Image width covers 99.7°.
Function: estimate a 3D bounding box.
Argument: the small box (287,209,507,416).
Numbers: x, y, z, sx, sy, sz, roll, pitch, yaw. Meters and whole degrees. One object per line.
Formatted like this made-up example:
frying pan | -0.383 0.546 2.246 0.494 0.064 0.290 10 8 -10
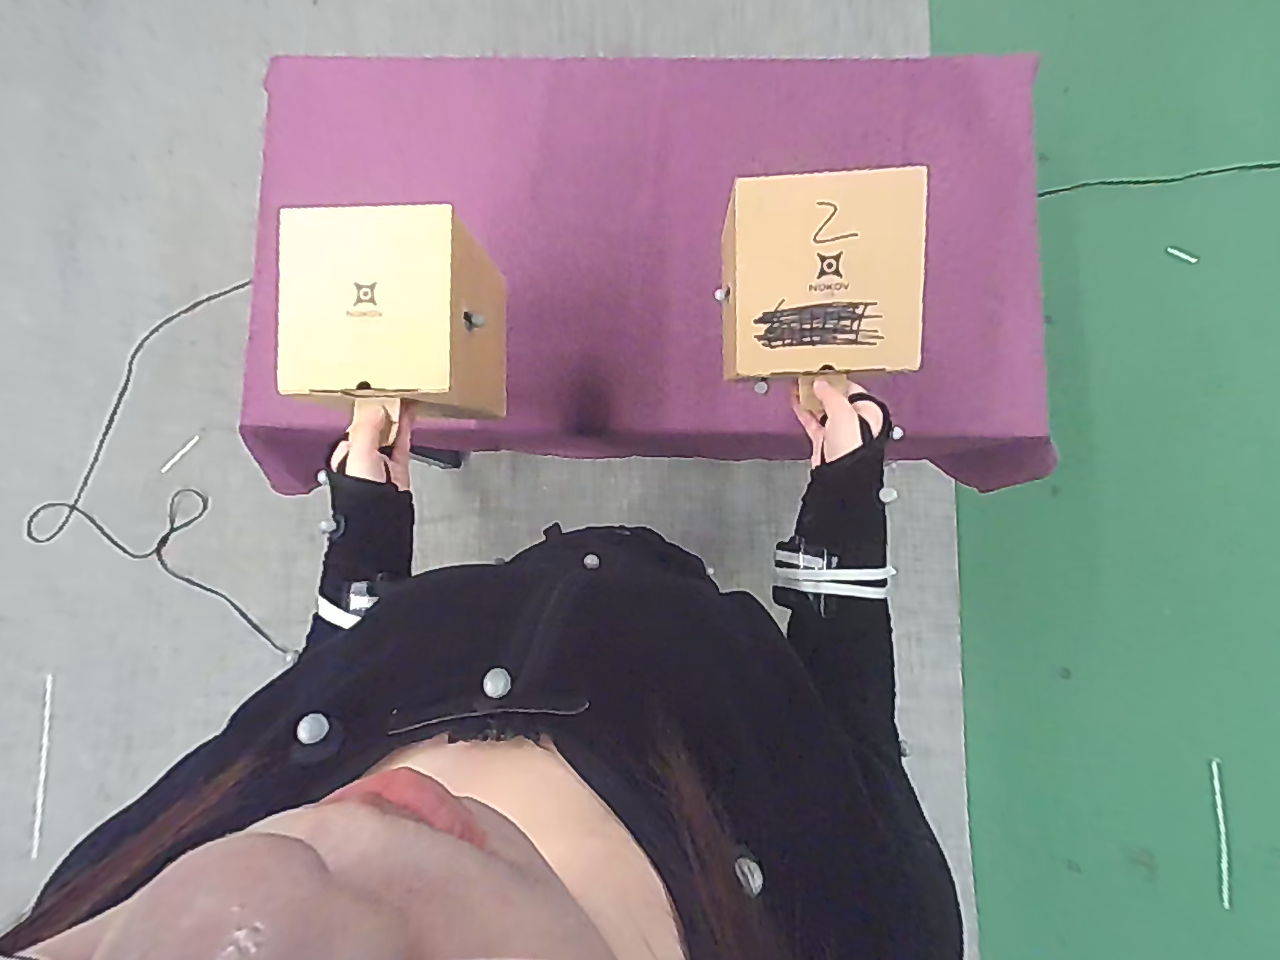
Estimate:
small box | -0.251 -0.170 0.595 0.168 0.176 0.179 0 89 3
